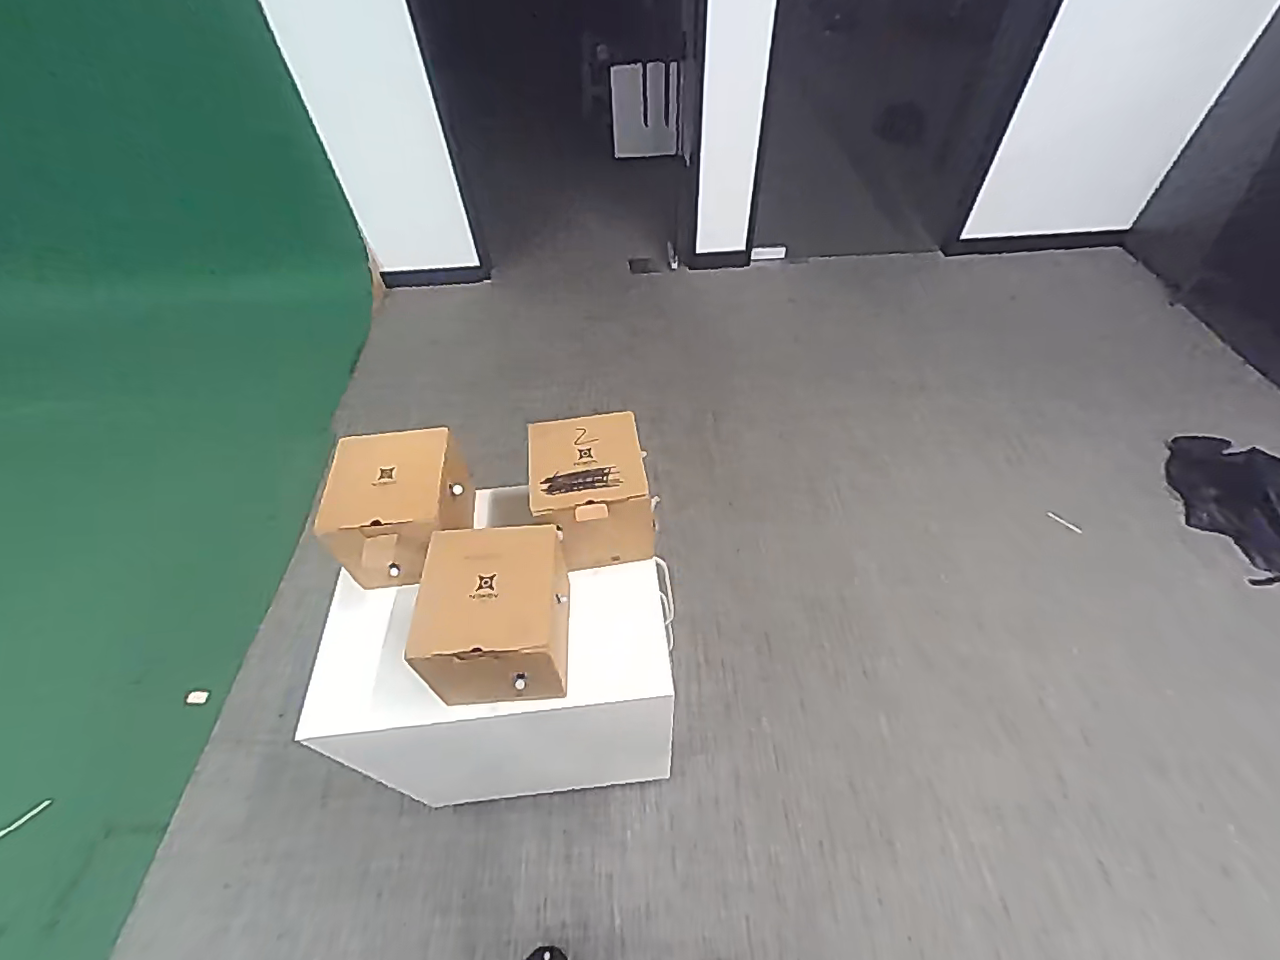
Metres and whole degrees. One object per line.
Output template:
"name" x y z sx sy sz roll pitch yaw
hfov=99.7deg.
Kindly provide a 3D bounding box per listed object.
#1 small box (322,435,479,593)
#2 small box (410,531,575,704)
"small box" -0.356 0.054 0.844 0.168 0.176 0.179 -6 52 -3
"small box" -0.180 0.190 0.724 0.168 0.176 0.179 -3 49 0
